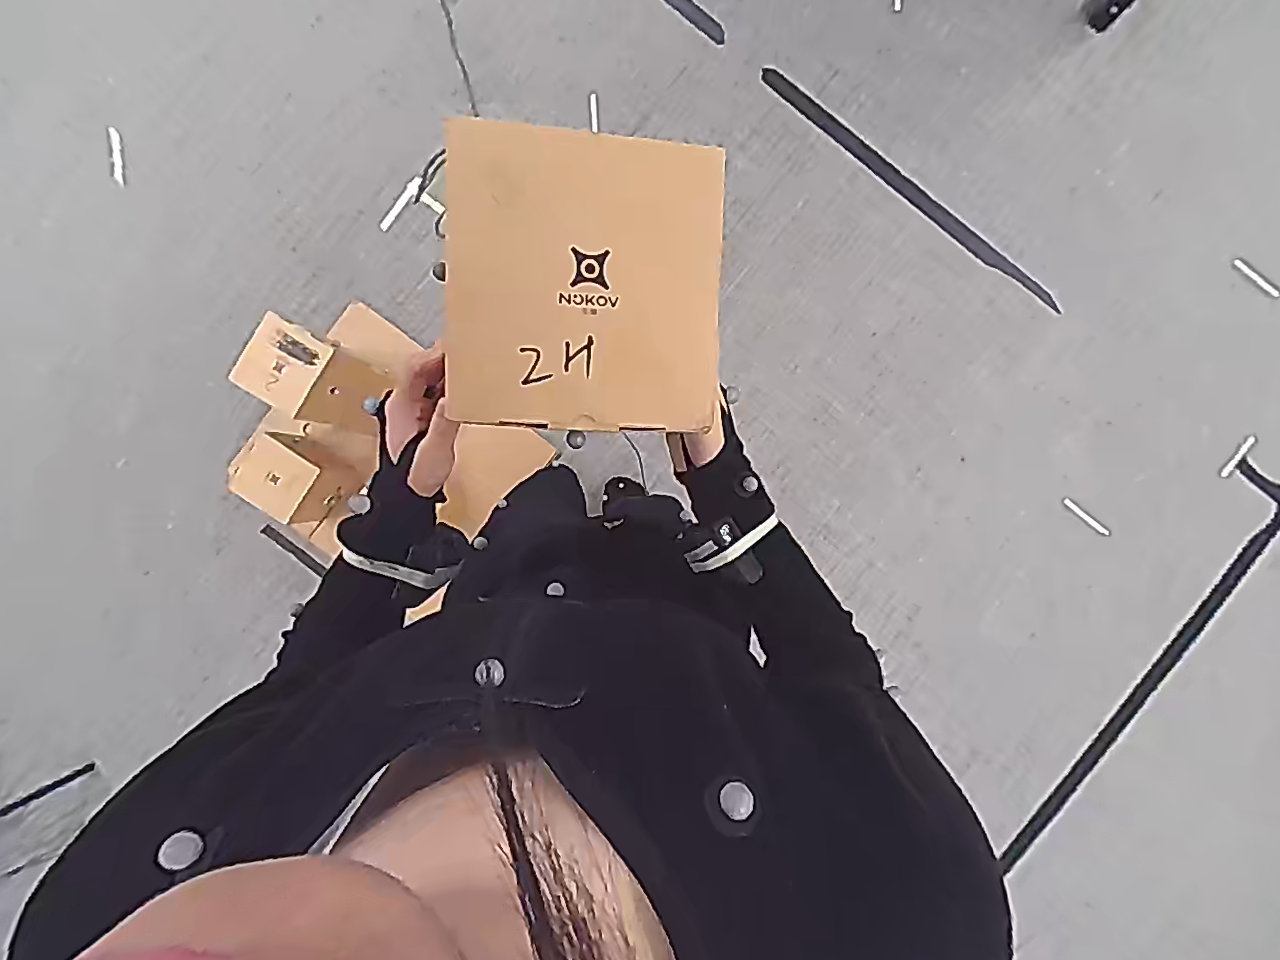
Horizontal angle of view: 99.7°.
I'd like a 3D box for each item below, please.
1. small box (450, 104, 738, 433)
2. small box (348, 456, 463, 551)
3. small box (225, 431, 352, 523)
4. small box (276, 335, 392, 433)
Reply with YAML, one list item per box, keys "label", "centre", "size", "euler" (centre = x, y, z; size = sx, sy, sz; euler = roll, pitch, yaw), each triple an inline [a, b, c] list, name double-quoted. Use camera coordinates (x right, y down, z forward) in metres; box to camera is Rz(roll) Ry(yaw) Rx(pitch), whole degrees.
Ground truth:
- label: "small box"
  centre: [-0.037, -0.127, 0.398]
  size: [0.168, 0.176, 0.179]
  euler: [2, 95, -9]
- label: "small box"
  centre: [-0.591, 0.059, 1.385]
  size: [0.179, 0.176, 0.168]
  euler: [41, 90, -2]
- label: "small box"
  centre: [-0.889, -0.007, 1.385]
  size: [0.179, 0.176, 0.168]
  euler: [32, 92, -1]
- label: "small box"
  centre: [-0.768, -0.237, 1.384]
  size: [0.168, 0.176, 0.179]
  euler: [33, 90, 0]
